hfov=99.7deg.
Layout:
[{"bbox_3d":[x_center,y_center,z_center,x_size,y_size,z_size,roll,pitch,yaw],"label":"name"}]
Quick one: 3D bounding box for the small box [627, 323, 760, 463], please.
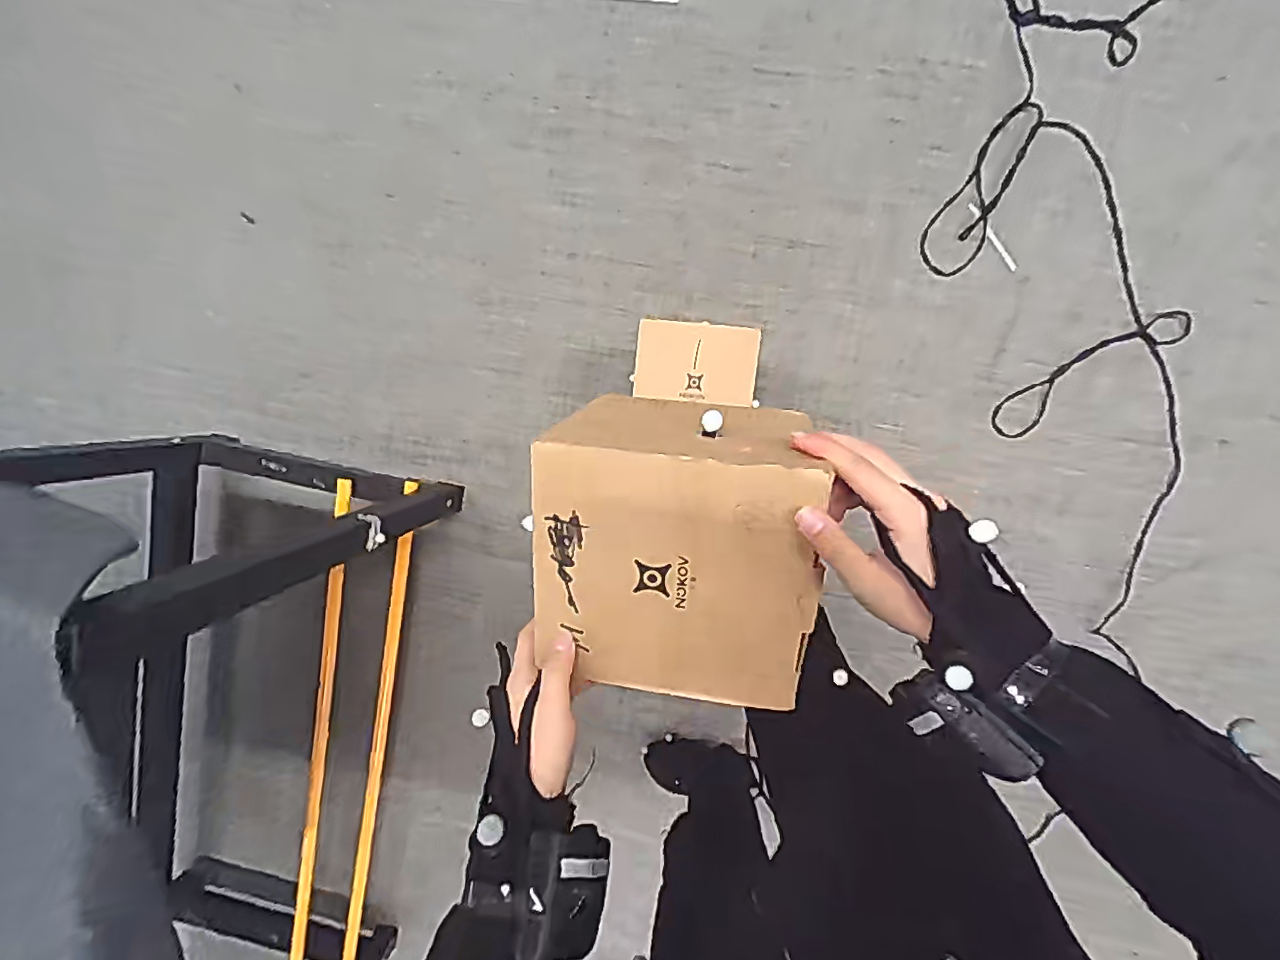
[{"bbox_3d":[0.080,-0.128,0.811,0.168,0.176,0.179,6,98,6],"label":"small box"}]
